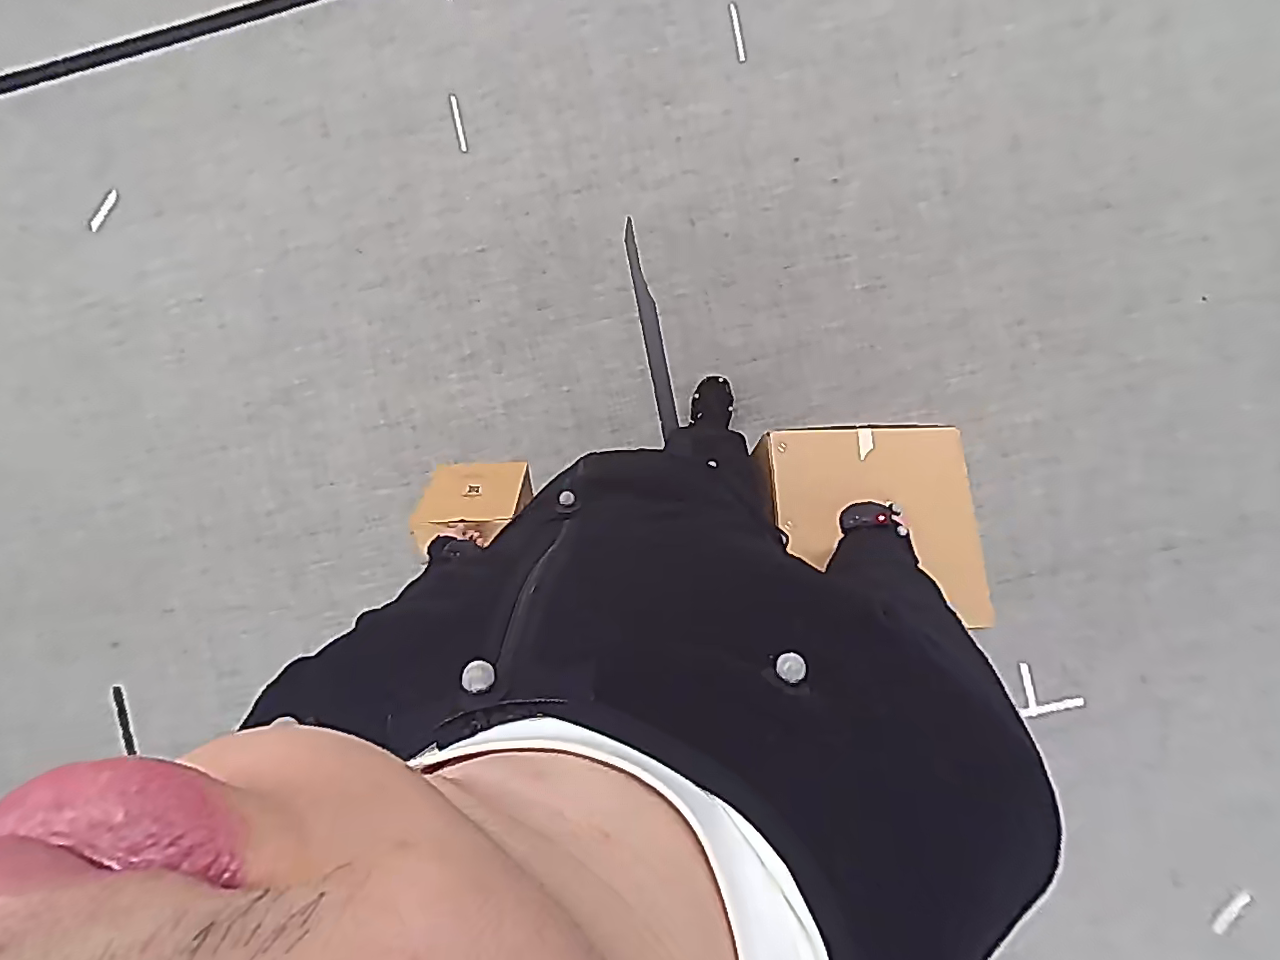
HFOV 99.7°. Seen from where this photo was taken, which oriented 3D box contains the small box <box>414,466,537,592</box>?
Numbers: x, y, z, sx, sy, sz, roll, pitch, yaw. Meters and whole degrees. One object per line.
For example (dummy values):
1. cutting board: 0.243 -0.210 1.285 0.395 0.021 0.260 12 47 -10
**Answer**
1. small box: -0.287 0.091 0.990 0.168 0.179 0.176 -1 124 -1
